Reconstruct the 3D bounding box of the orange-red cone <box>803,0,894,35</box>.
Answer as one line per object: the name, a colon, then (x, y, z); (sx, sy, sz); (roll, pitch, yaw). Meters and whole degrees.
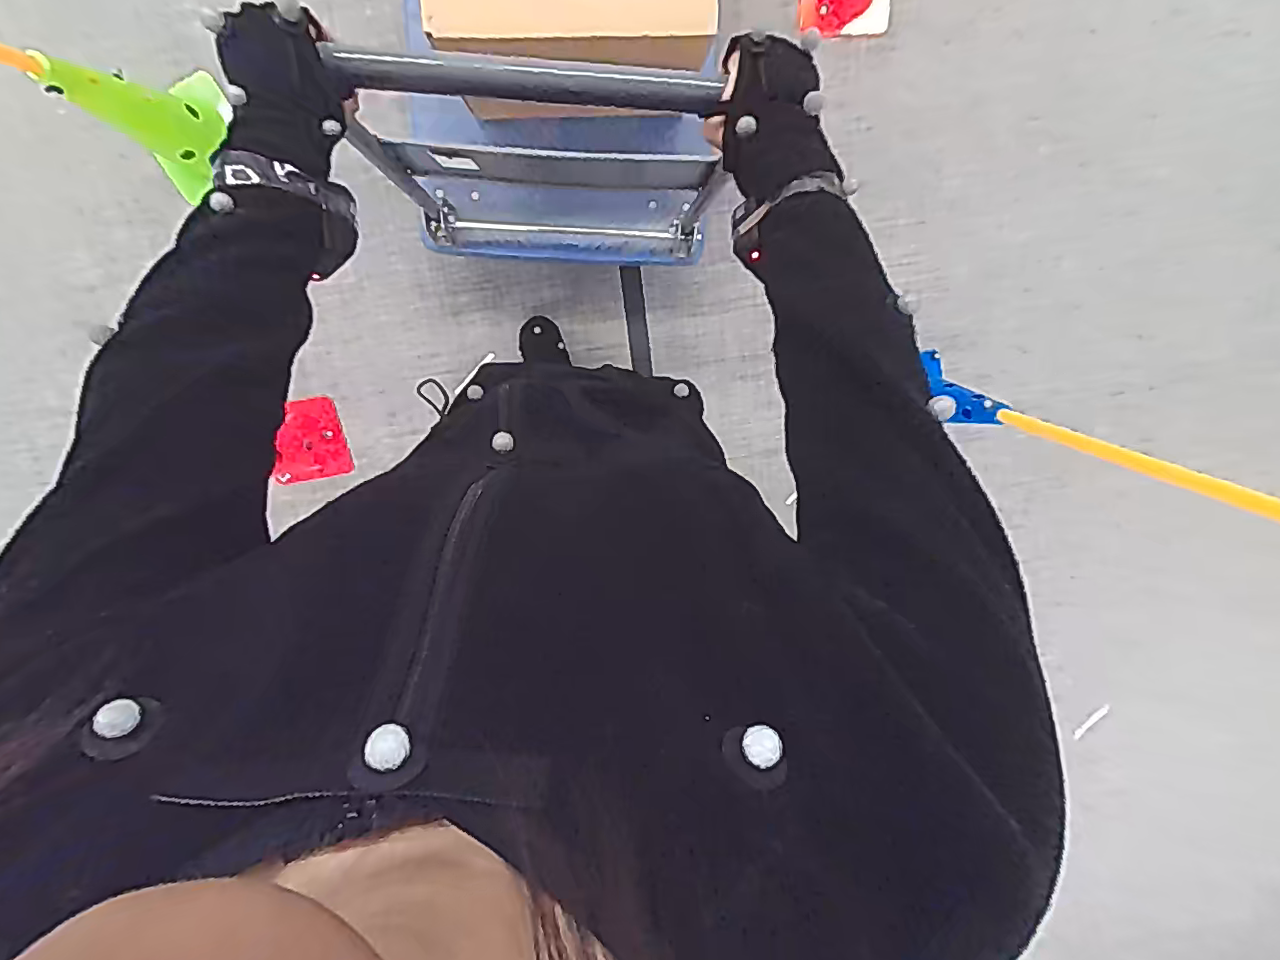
orange-red cone: (0.467, -1.022, 0.991); (0.199, 0.360, 0.198); (-3, 106, -5)
